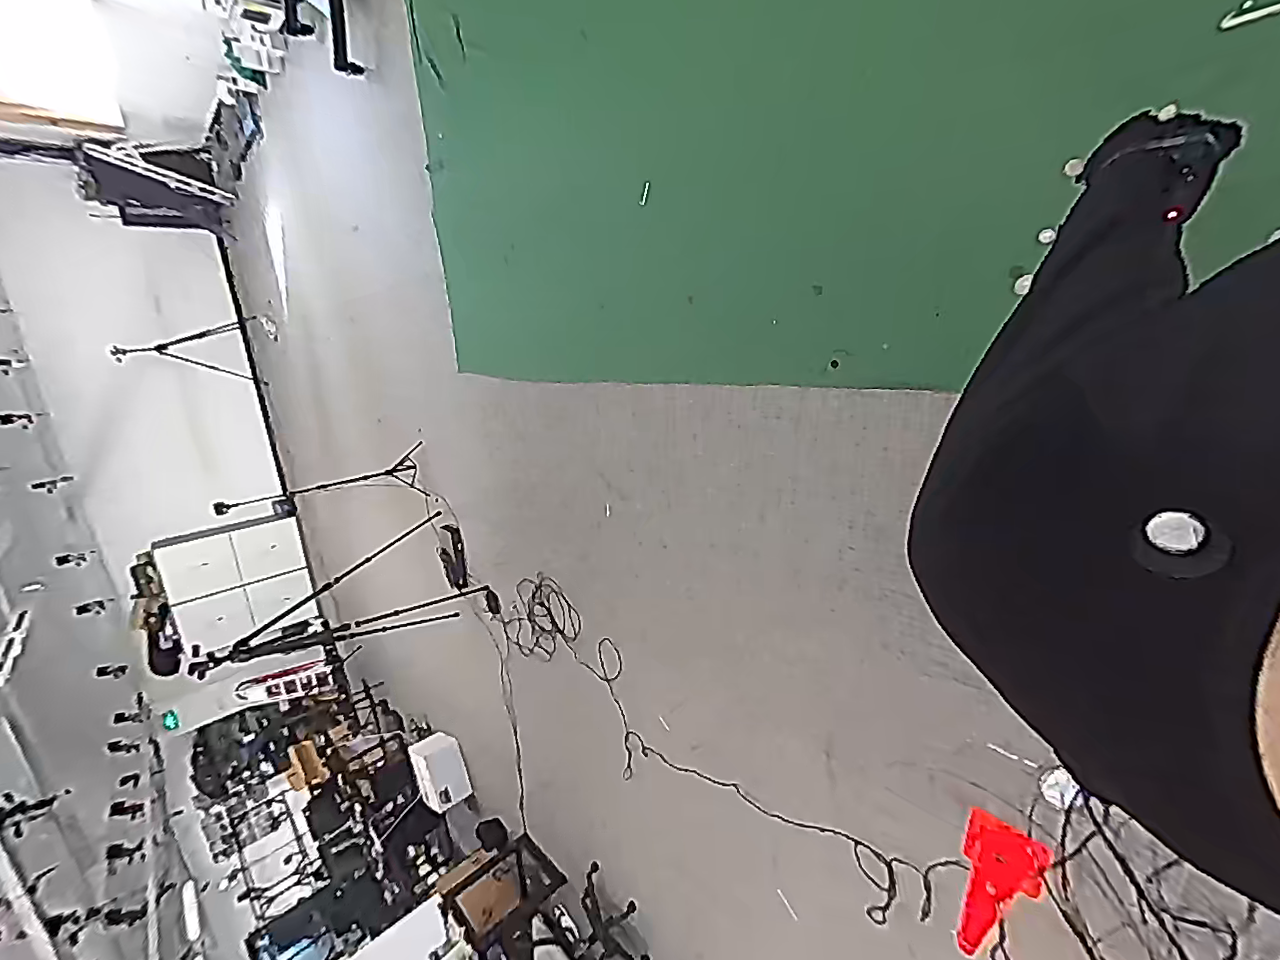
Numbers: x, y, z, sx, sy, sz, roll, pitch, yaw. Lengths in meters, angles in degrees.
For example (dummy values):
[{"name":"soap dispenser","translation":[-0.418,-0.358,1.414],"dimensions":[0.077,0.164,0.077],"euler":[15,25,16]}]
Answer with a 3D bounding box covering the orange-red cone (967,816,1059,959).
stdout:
[{"name":"orange-red cone","translation":[0.943,1.123,1.436],"dimensions":[0.198,0.360,0.199],"euler":[18,115,43]}]
